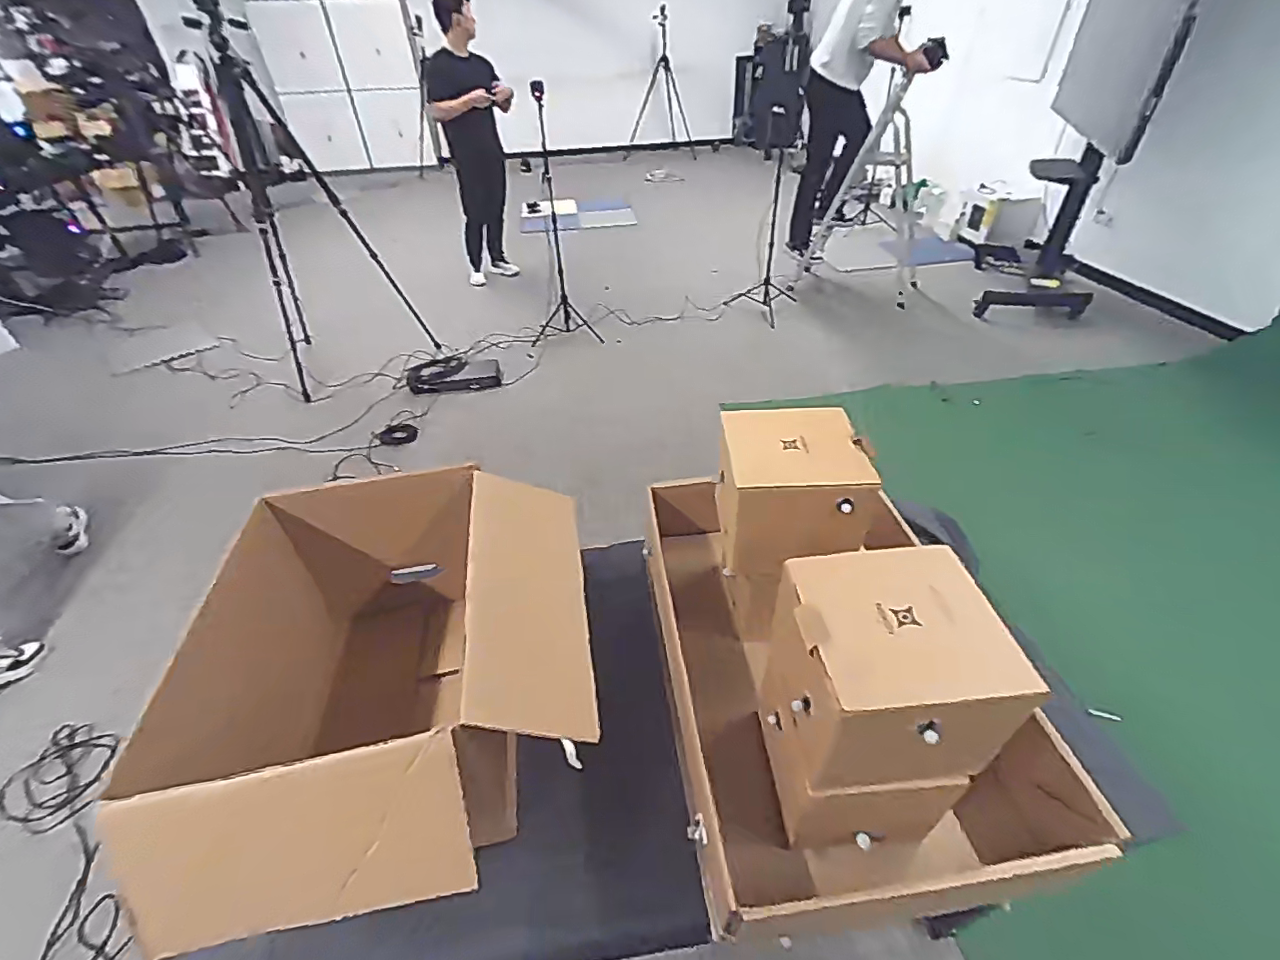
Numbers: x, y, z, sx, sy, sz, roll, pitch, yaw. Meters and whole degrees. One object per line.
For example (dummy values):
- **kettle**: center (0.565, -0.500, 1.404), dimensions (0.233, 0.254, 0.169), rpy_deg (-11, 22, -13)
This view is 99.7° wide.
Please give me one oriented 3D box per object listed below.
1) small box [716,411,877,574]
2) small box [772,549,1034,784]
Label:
- **small box**: center (0.203, 0.019, 0.762), dimensions (0.179, 0.176, 0.168), rpy_deg (-1, 42, 1)
- **small box**: center (0.243, 0.194, 0.560), dimensions (0.179, 0.176, 0.168), rpy_deg (-4, 42, -2)
